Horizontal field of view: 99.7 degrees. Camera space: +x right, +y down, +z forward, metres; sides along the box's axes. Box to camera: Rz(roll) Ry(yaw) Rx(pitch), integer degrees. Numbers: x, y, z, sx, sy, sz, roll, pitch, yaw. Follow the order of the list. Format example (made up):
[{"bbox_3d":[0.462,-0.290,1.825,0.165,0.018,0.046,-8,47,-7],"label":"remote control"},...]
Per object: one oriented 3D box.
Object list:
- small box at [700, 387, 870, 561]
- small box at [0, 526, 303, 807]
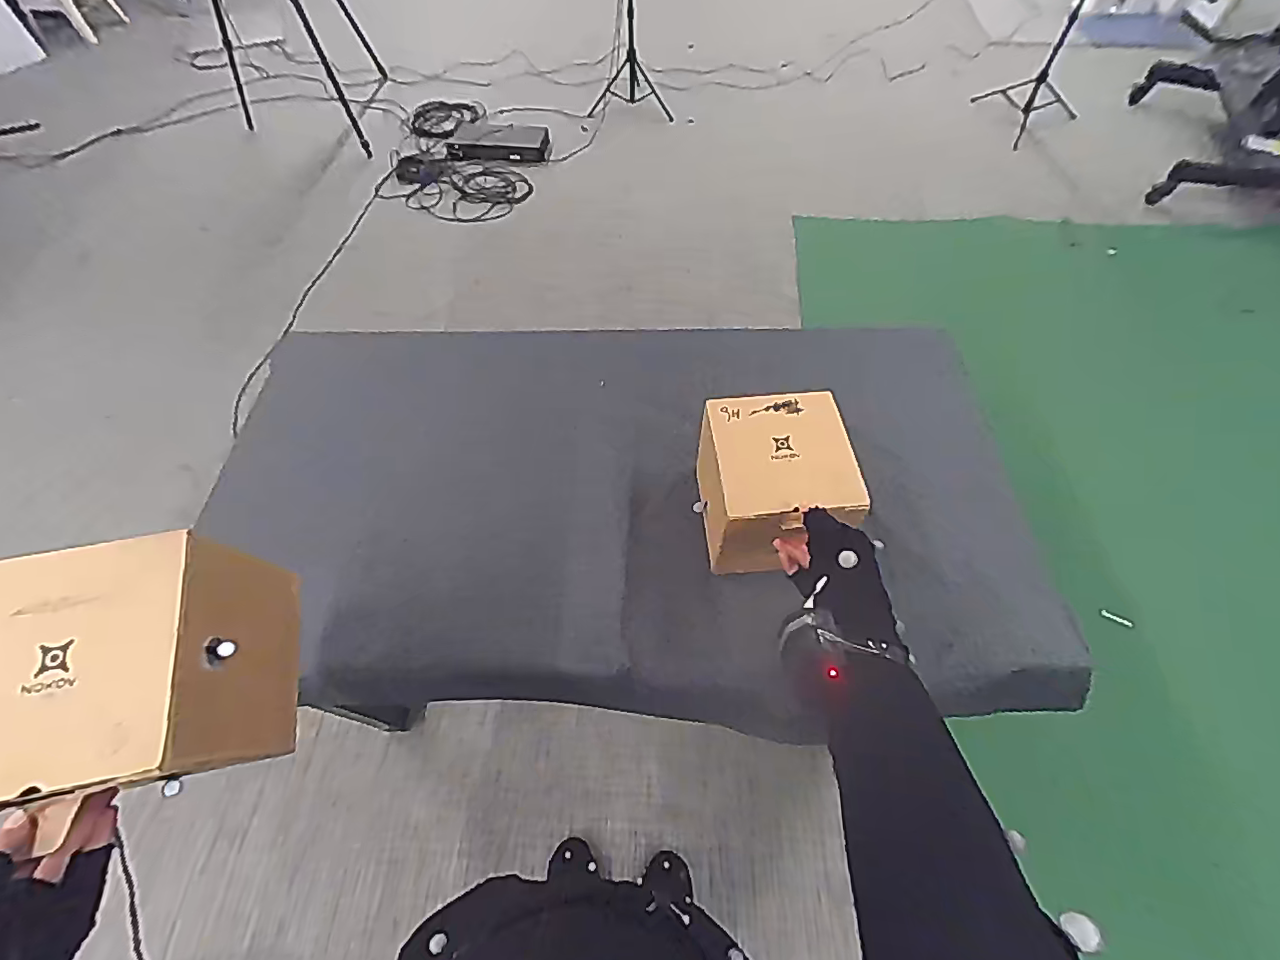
[{"bbox_3d":[0.176,0.000,0.716,0.168,0.176,0.179,-4,60,-2],"label":"small box"},{"bbox_3d":[-0.414,0.157,0.458,0.168,0.176,0.179,-10,68,-7],"label":"small box"}]
